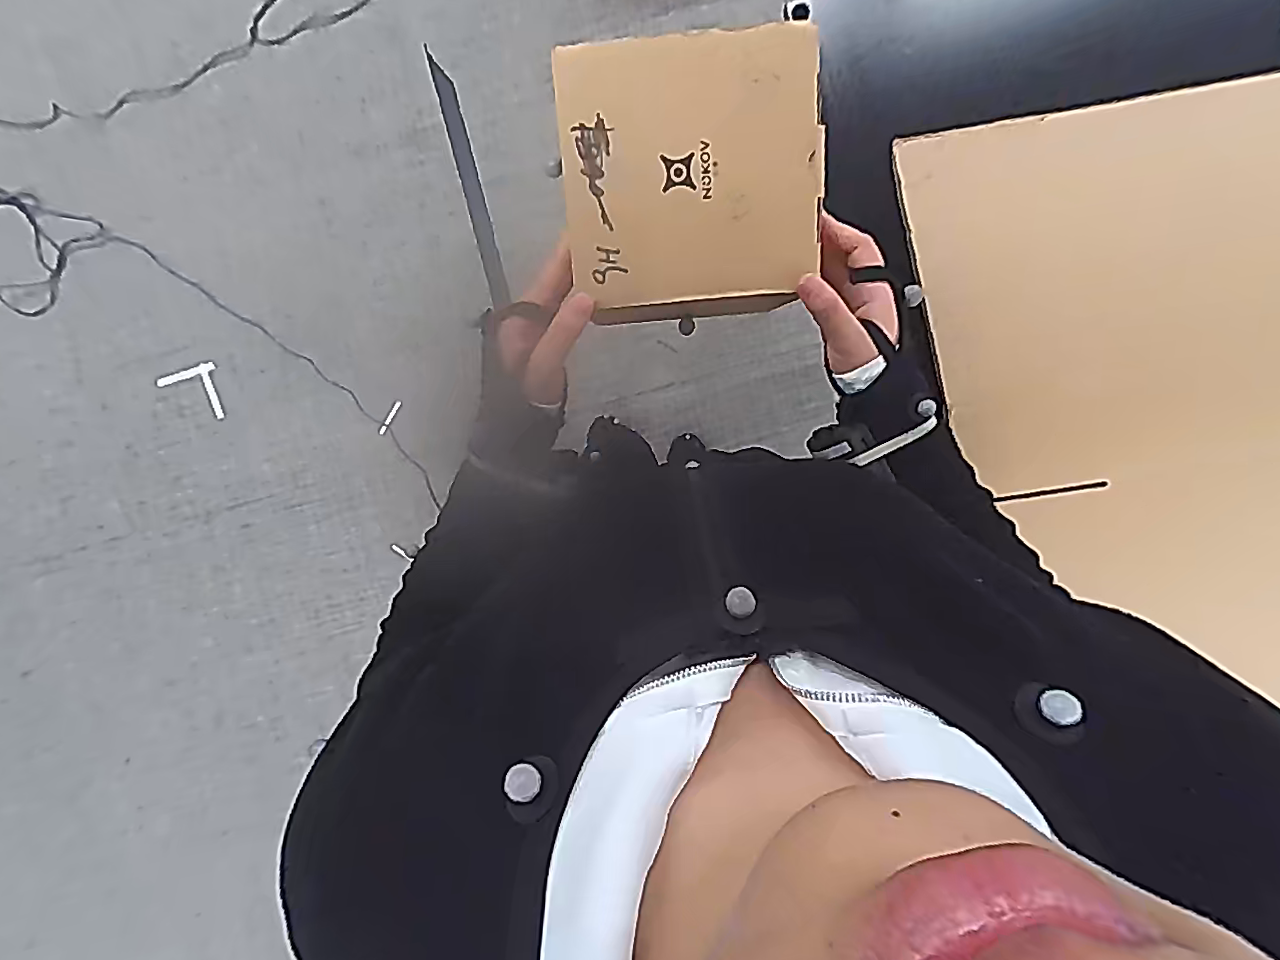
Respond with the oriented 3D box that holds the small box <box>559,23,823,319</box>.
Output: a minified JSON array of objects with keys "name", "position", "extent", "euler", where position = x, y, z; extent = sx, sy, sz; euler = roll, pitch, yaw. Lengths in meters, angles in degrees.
[{"name":"small box","position":[0.036,-0.229,0.447],"extent":[0.179,0.176,0.168],"euler":[-5,101,0]}]
